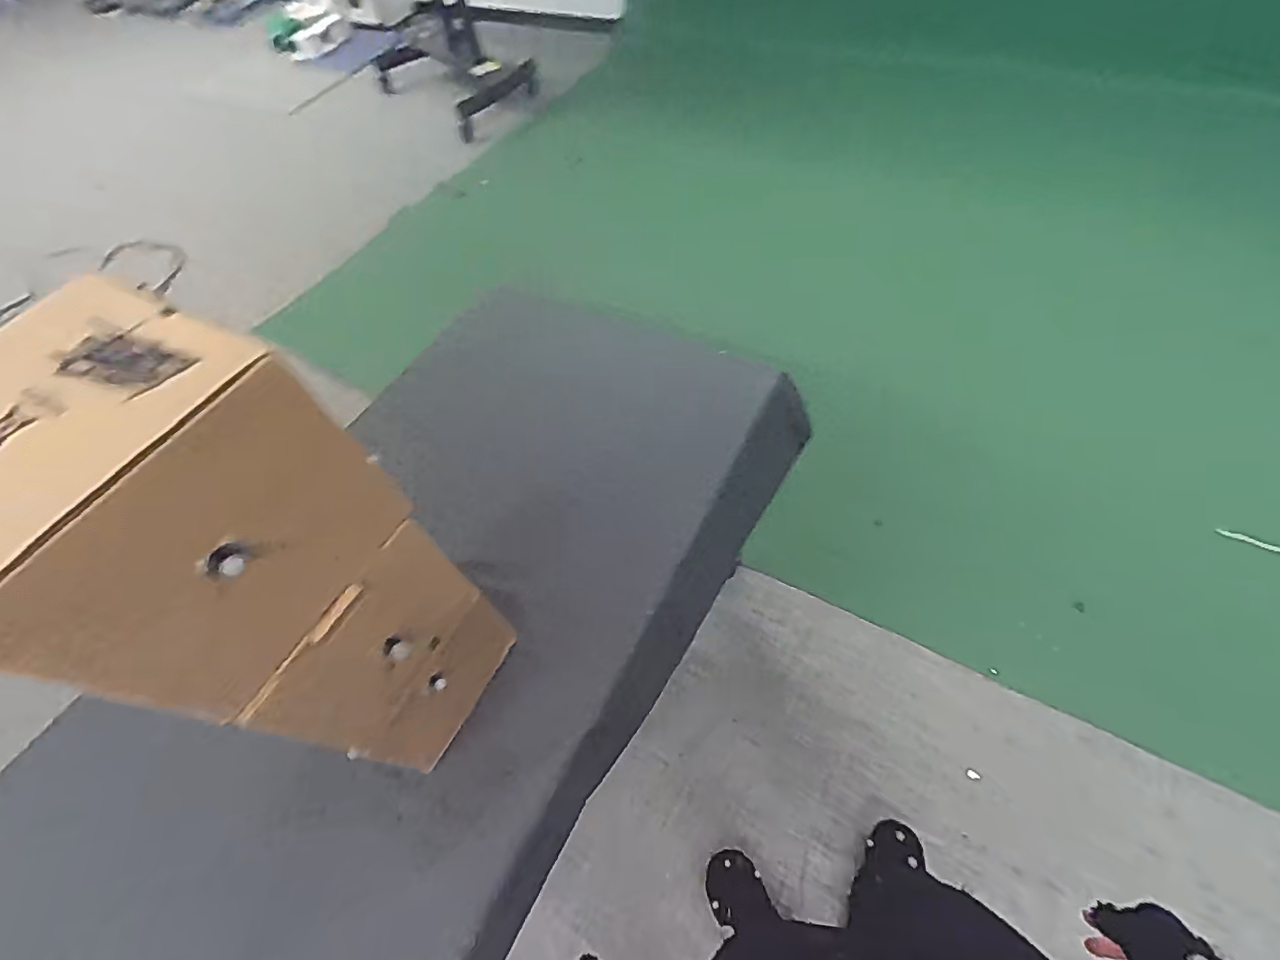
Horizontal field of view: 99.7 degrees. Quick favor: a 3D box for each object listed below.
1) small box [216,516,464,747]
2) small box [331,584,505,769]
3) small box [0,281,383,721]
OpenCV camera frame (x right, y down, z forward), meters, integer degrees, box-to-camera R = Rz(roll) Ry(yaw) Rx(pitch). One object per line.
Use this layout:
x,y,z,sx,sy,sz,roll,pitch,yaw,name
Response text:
-0.285,0.109,0.465,0.179,0.176,0.168,22,62,17,small box
-0.276,0.195,0.604,0.168,0.176,0.179,22,61,18,small box
-0.292,0.017,0.329,0.168,0.176,0.179,20,60,17,small box
